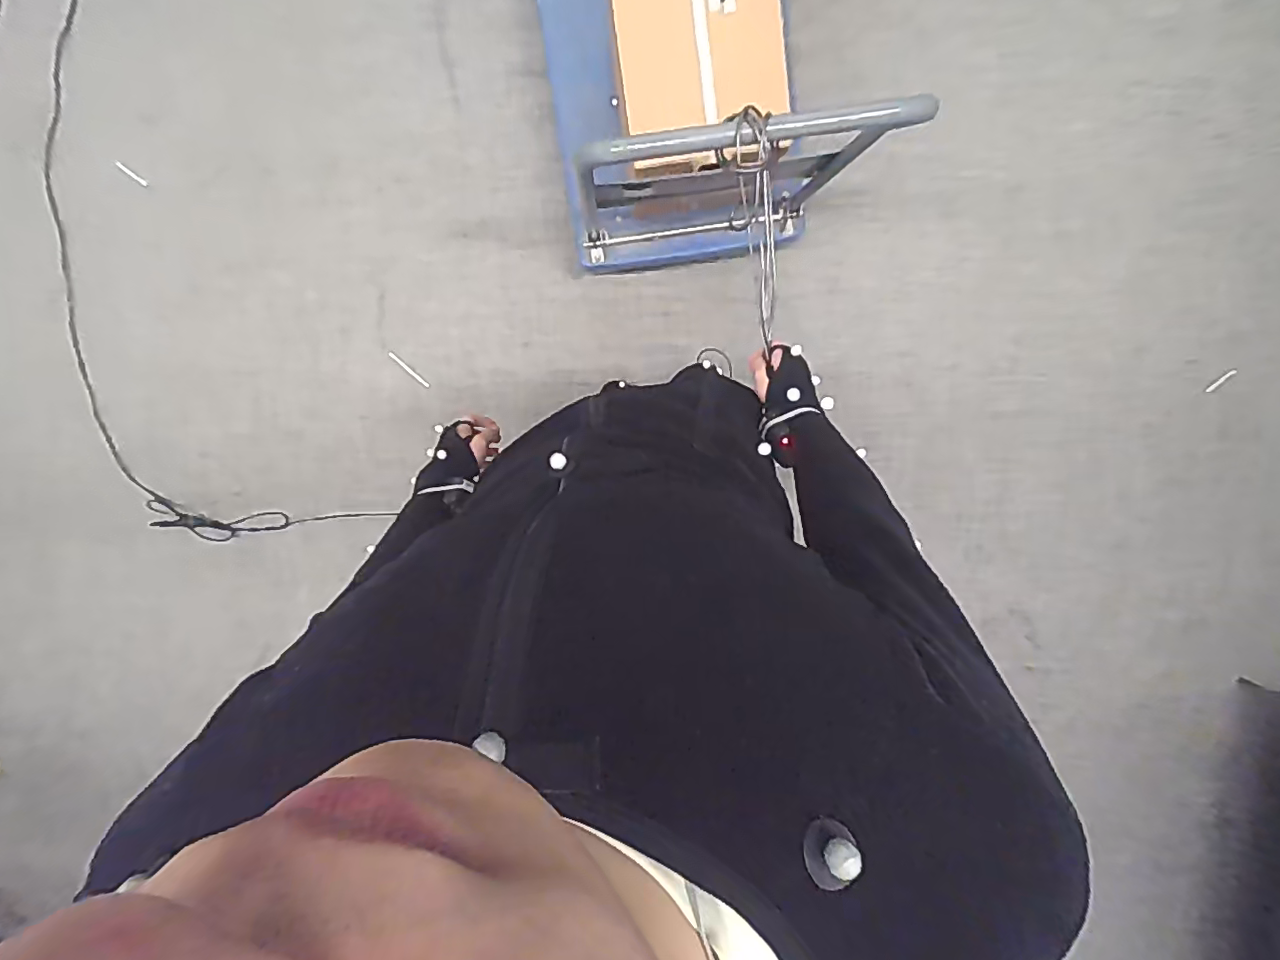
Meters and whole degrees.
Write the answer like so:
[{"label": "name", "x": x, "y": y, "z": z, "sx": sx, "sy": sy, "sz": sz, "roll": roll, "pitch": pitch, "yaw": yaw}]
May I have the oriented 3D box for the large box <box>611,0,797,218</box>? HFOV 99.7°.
[{"label": "large box", "x": 0.117, "y": -0.831, "z": 1.146, "sx": 0.320, "sy": 0.320, "sz": 0.408, "roll": -8, "pitch": 99, "yaw": -1}]
